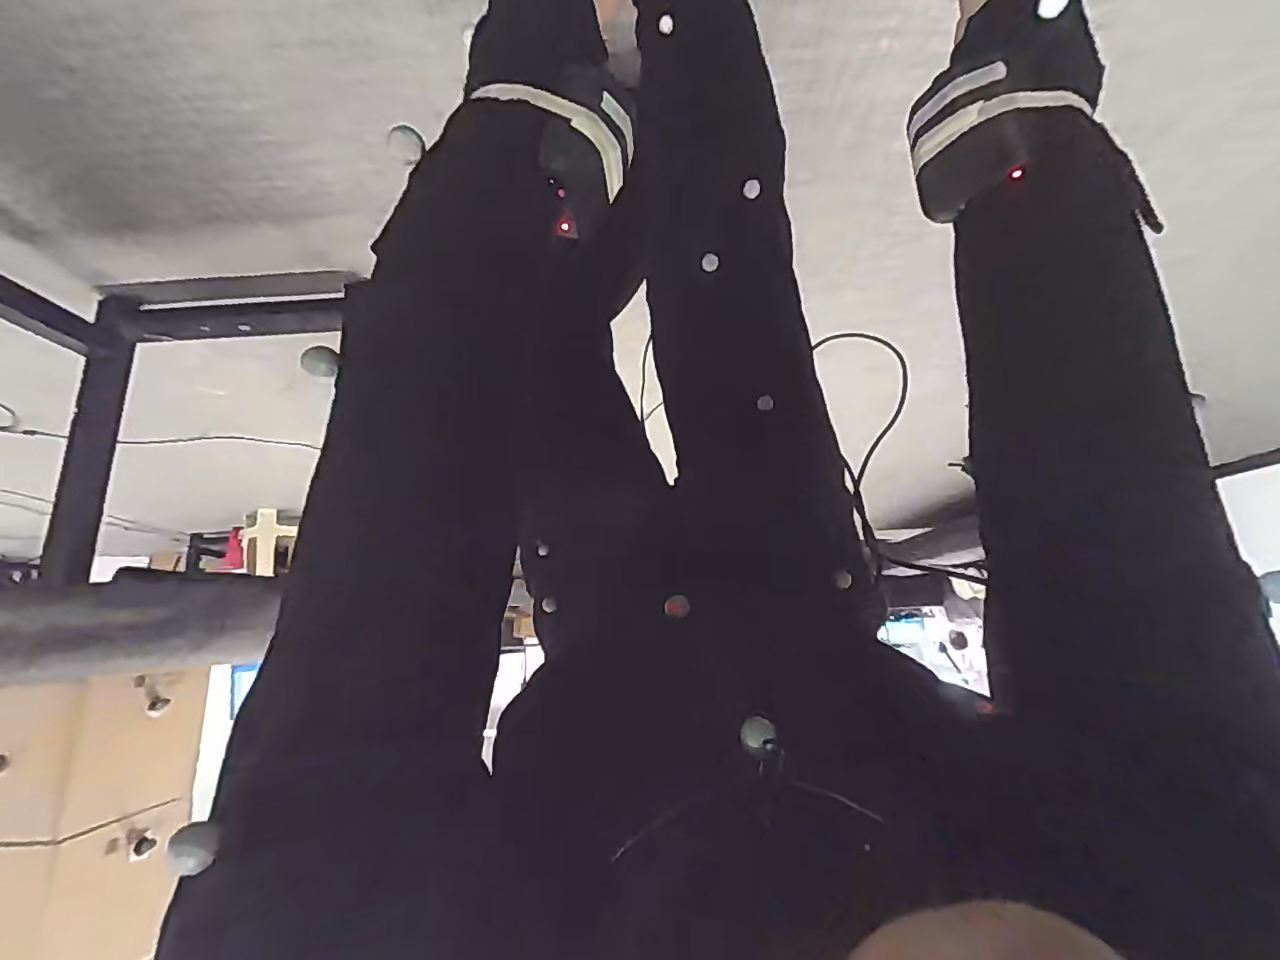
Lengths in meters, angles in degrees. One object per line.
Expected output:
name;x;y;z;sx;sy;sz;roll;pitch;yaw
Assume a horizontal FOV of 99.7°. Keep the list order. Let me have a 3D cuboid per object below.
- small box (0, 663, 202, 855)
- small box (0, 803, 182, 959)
small box;-0.658;0.306;0.625;0.179;0.176;0.168;-4;166;2
small box;-0.648;0.463;0.585;0.179;0.176;0.168;-5;167;2
